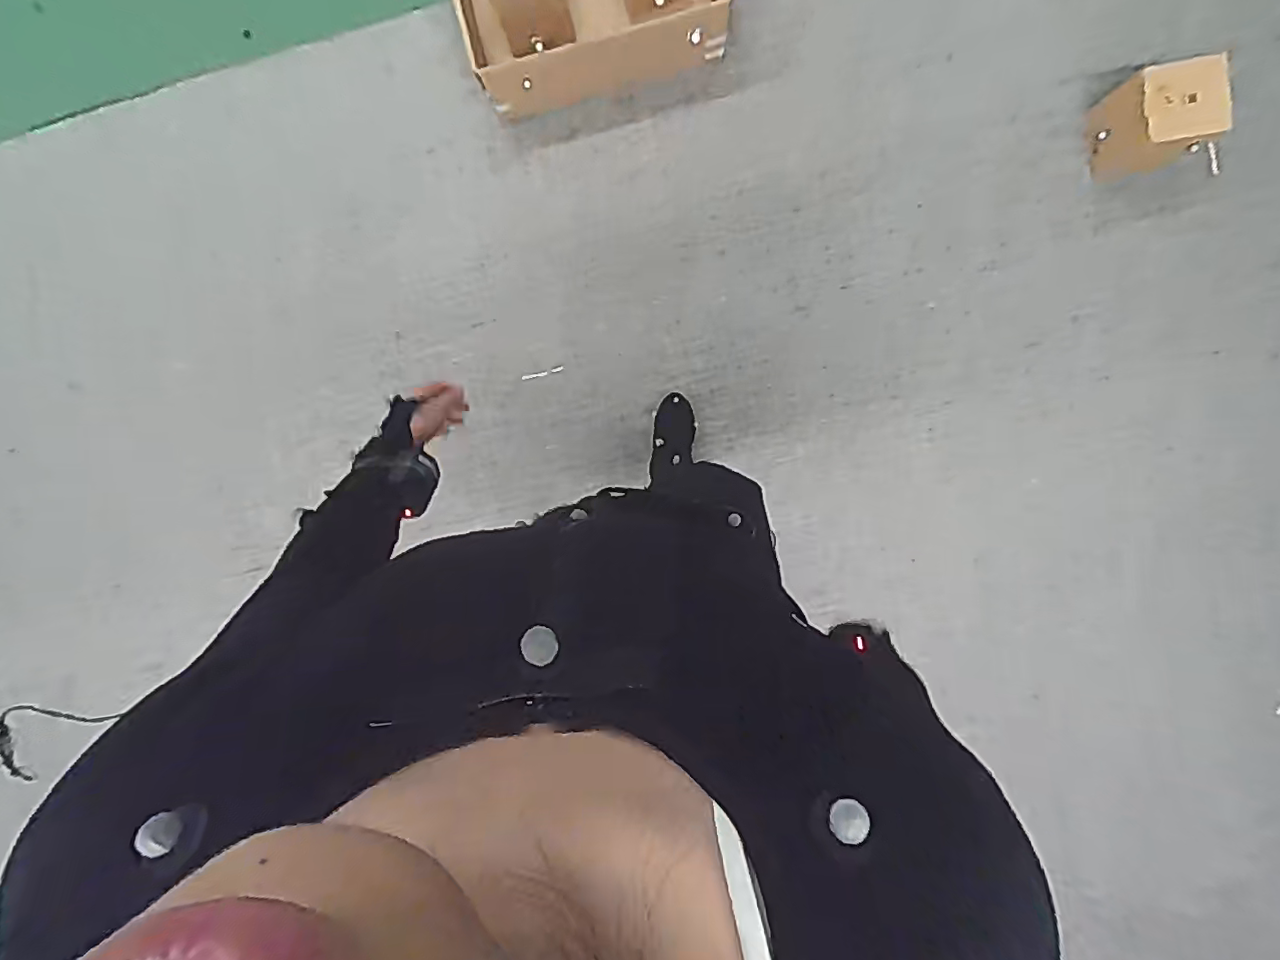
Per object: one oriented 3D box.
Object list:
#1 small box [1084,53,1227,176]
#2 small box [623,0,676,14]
[{"bbox_3d":[1.191,-0.841,1.259,0.179,0.176,0.168,-8,94,4],"label":"small box"},{"bbox_3d":[0.019,-1.236,1.235,0.168,0.176,0.179,-15,96,5],"label":"small box"}]
